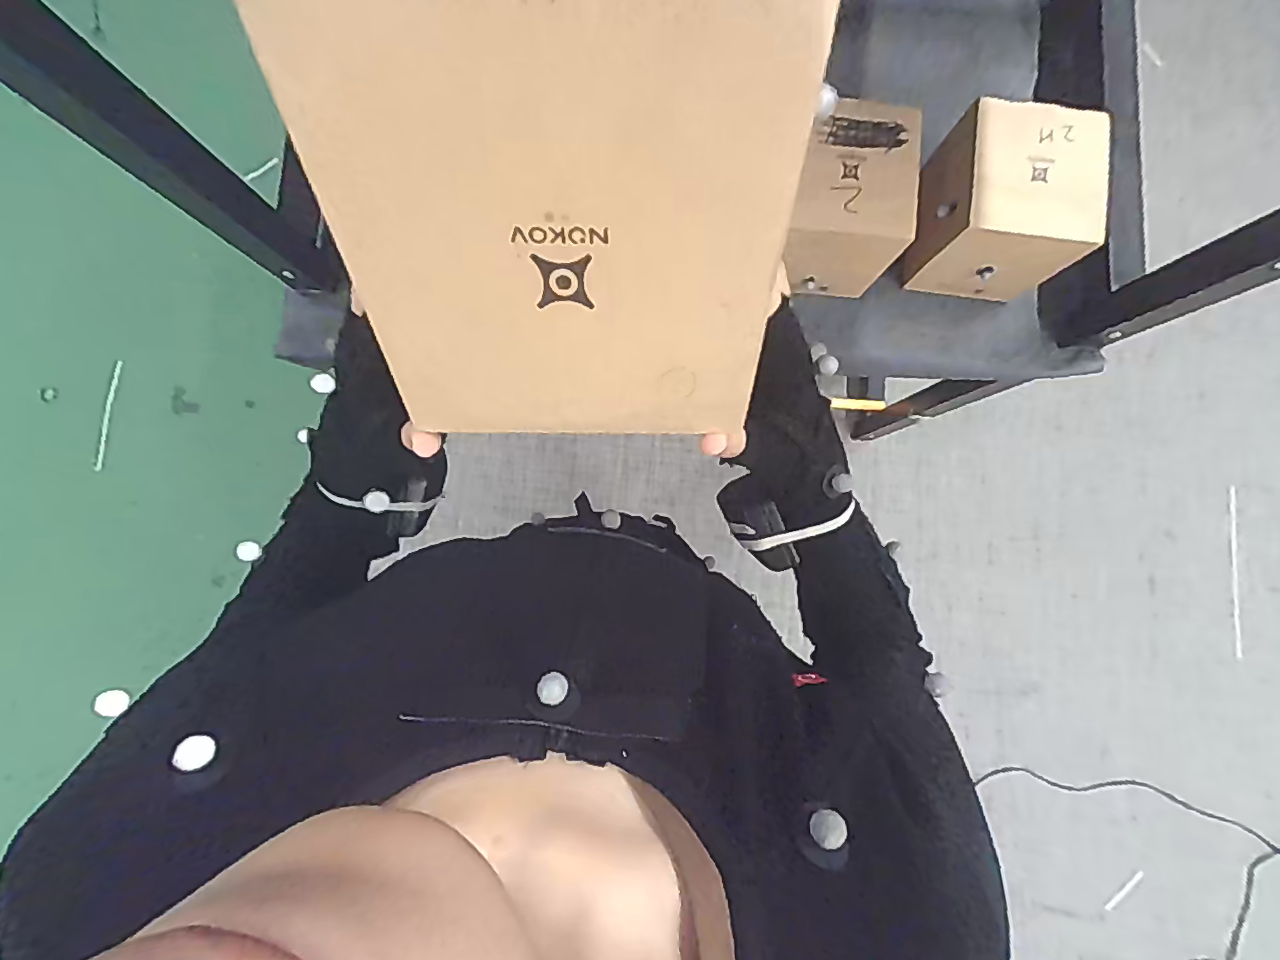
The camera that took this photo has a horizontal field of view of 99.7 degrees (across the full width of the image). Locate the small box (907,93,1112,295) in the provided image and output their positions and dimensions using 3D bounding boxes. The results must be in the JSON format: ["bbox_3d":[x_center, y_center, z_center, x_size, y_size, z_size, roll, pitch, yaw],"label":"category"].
[{"bbox_3d":[0.487,-0.374,0.737,0.168,0.176,0.179,7,84,0],"label":"small box"}]
